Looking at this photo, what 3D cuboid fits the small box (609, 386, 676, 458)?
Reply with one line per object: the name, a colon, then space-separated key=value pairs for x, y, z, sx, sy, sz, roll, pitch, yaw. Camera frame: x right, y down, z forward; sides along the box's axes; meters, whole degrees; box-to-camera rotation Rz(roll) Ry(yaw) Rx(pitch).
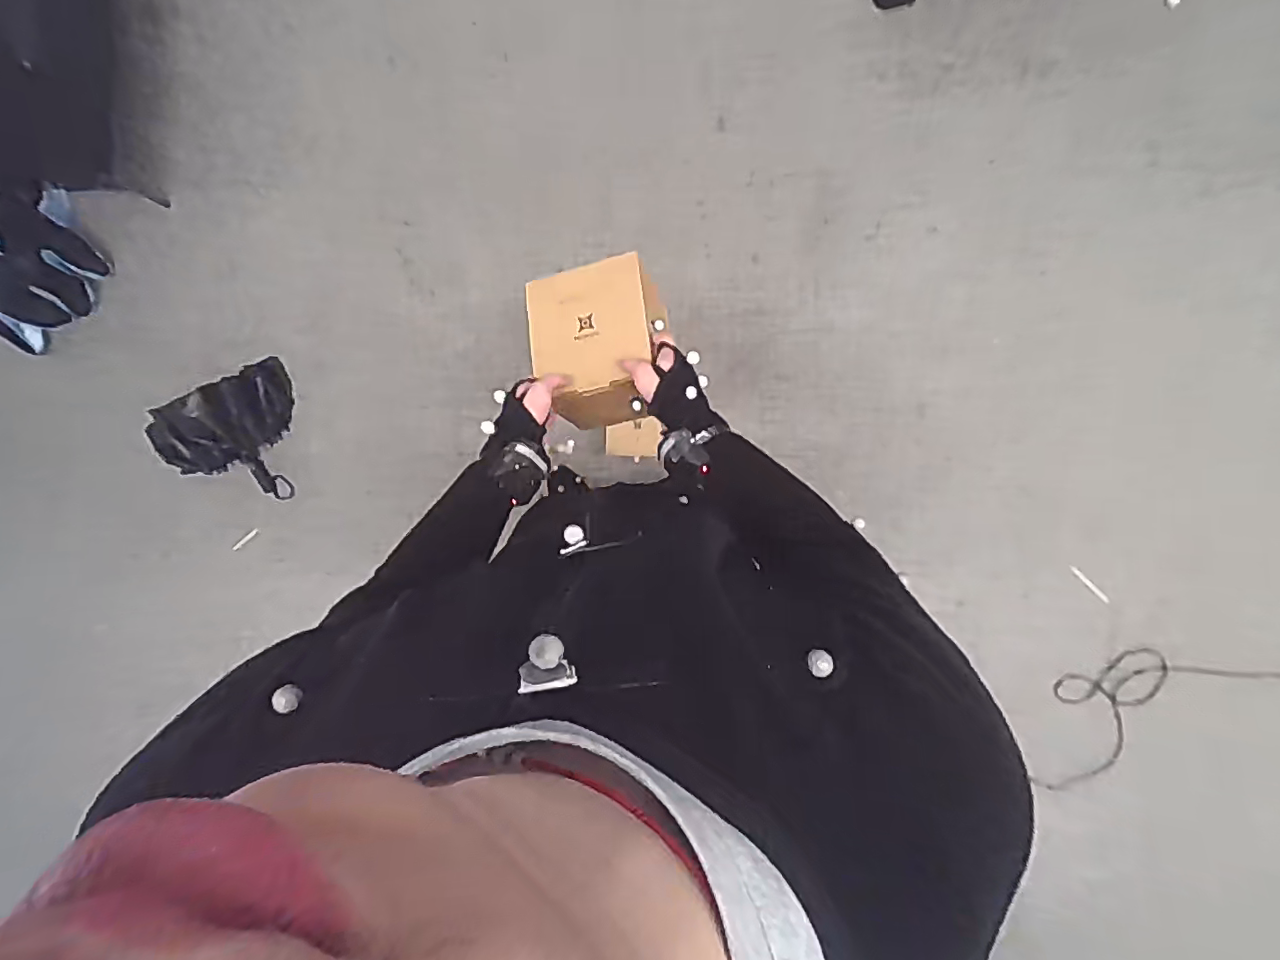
small box: x=0.009 y=-0.151 z=1.455 sx=0.168 sy=0.176 sz=0.179 roll=3 pitch=93 yaw=4
